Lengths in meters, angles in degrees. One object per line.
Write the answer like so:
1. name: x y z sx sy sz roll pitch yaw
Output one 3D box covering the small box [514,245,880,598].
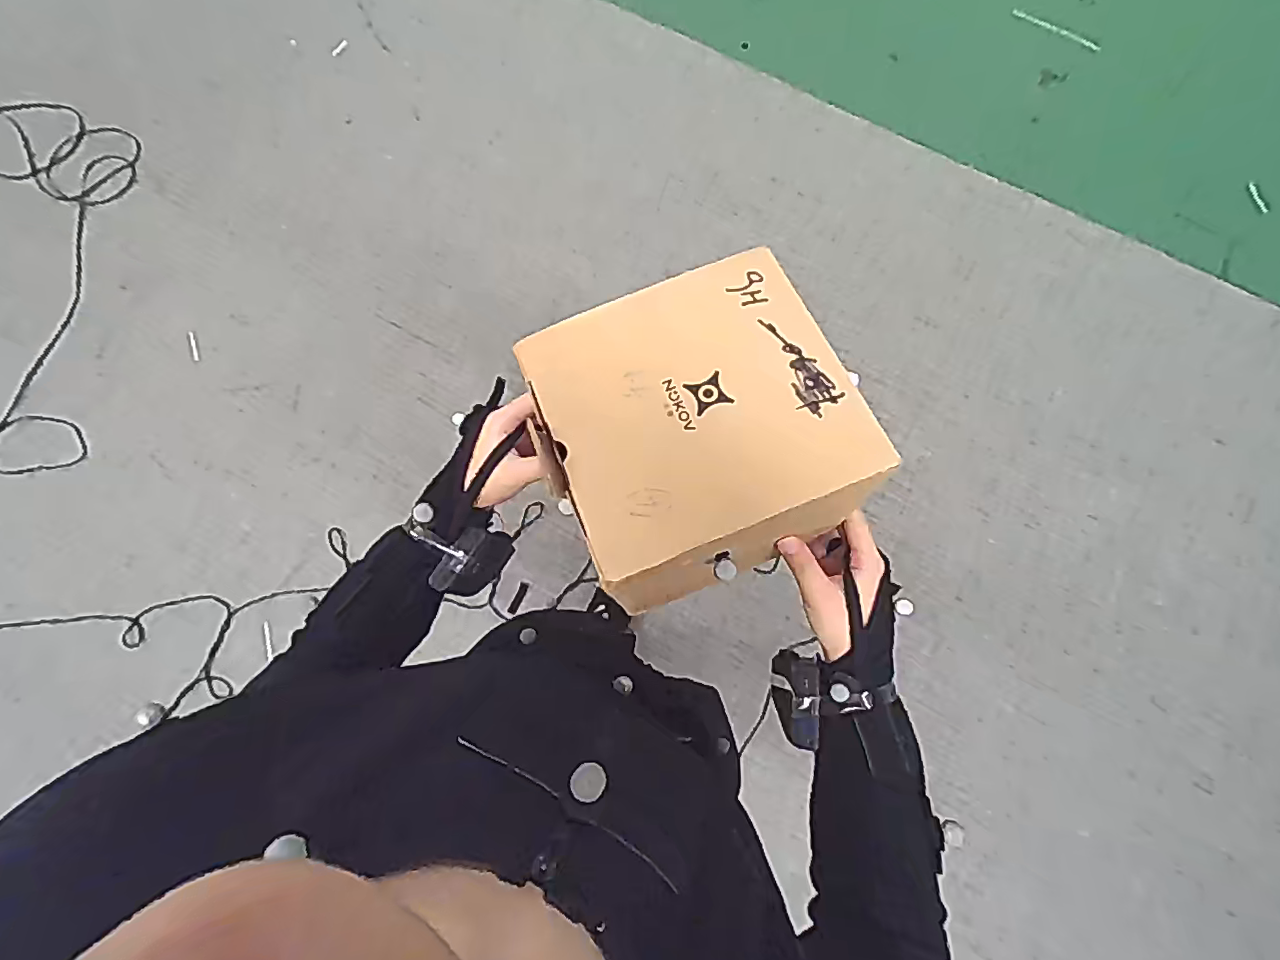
1. small box: 0.034 -0.026 0.396 0.179 0.176 0.168 -22 70 -3
